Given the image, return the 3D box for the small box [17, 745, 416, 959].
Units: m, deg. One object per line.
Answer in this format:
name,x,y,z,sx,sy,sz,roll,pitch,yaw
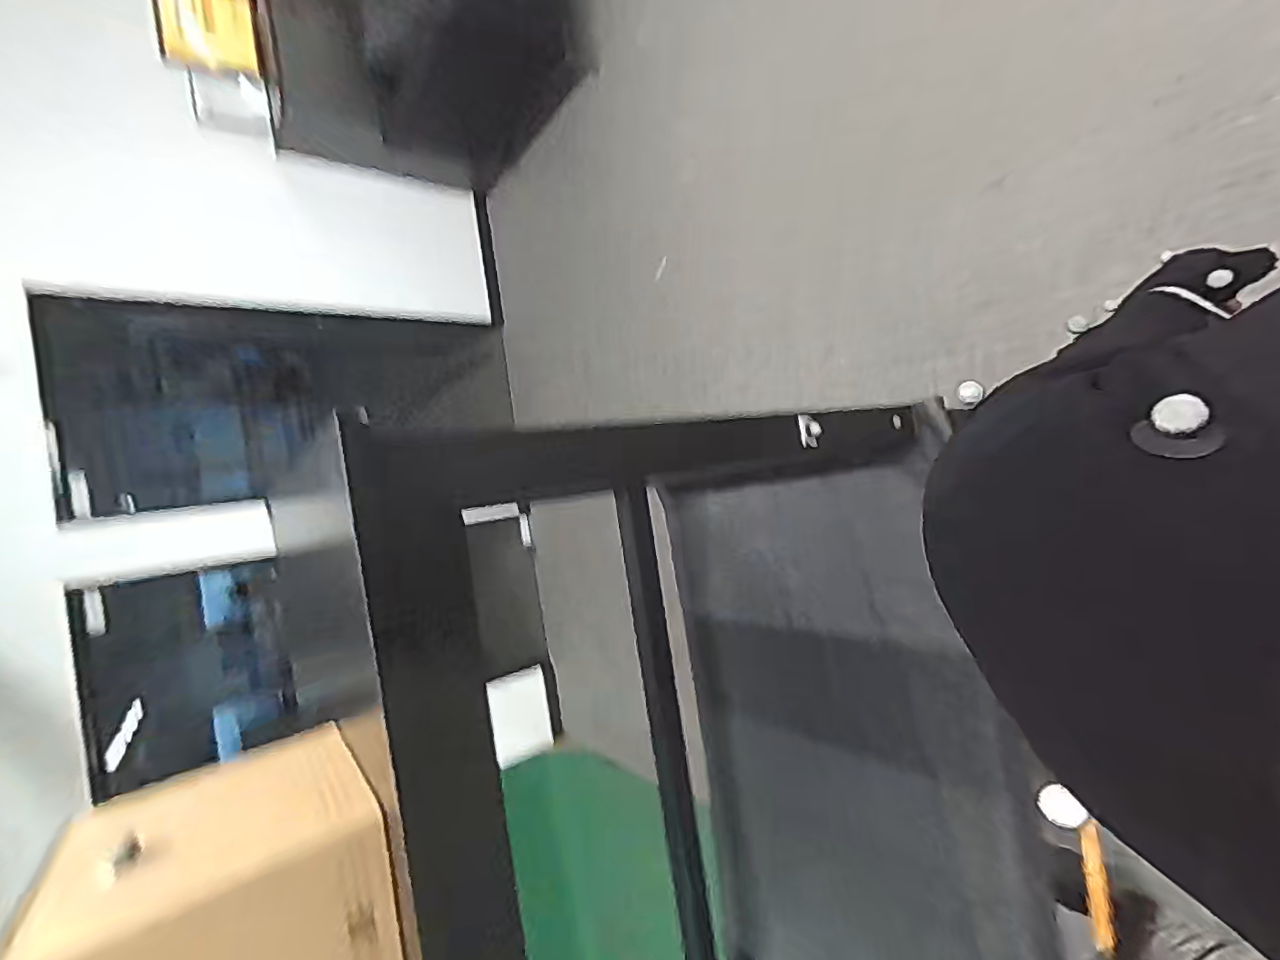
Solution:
small box,-0.251,0.303,0.350,0.179,0.176,0.168,-7,91,53
